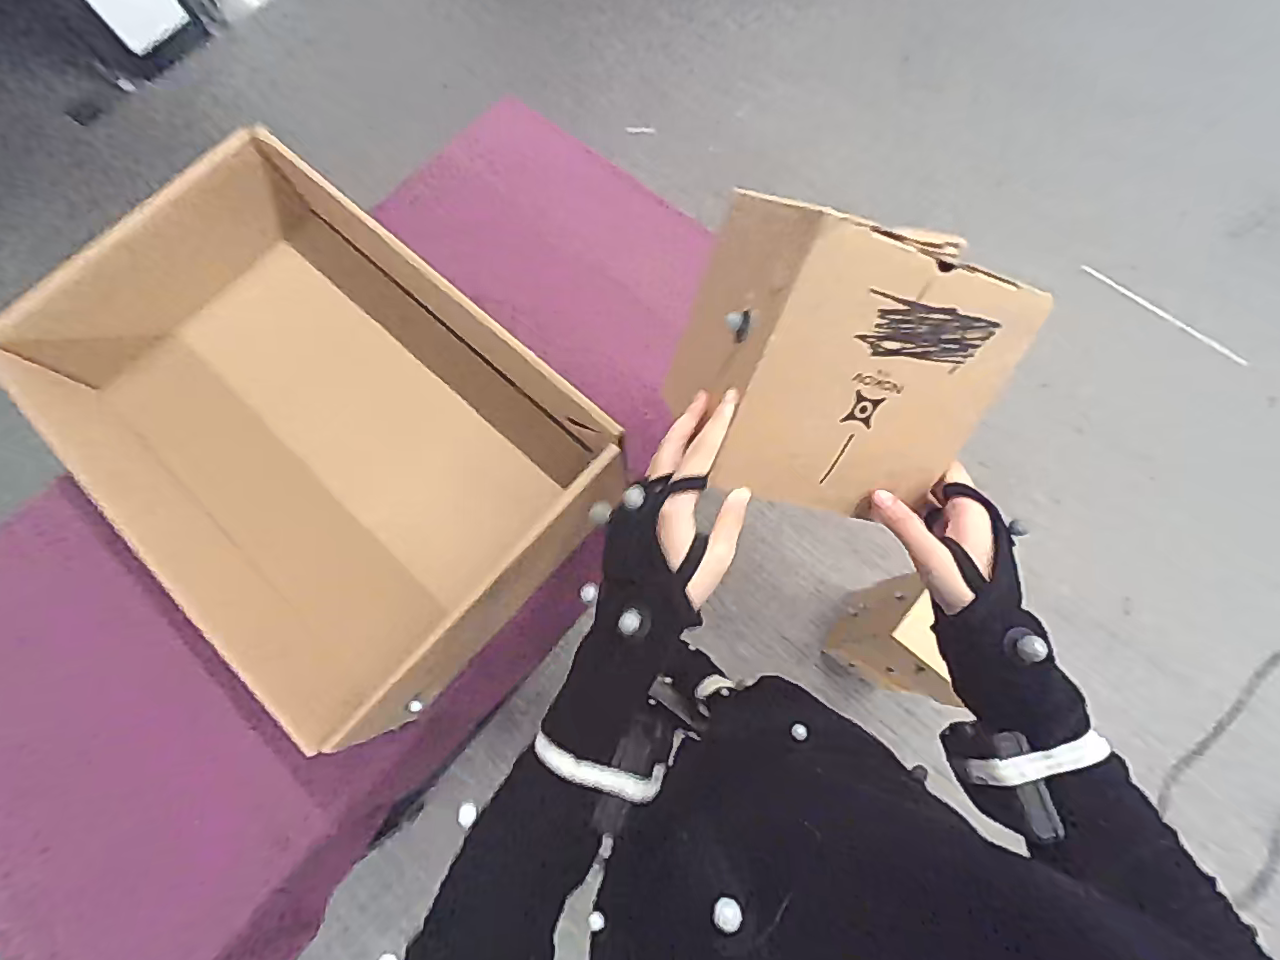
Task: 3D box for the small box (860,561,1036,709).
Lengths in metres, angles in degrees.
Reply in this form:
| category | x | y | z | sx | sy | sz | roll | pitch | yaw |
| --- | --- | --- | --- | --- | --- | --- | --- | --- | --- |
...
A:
| category | x | y | z | sx | sy | sz | roll | pitch | yaw |
| --- | --- | --- | --- | --- | --- | --- | --- | --- | --- |
| small box | 0.522 | 0.270 | 0.946 | 0.179 | 0.176 | 0.168 | 41 | 80 | 13 |

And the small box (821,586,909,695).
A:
| category | x | y | z | sx | sy | sz | roll | pitch | yaw |
| --- | --- | --- | --- | --- | --- | --- | --- | --- | --- |
| small box | 0.545 | 0.372 | 1.259 | 0.168 | 0.176 | 0.179 | 34 | 78 | 11 |
